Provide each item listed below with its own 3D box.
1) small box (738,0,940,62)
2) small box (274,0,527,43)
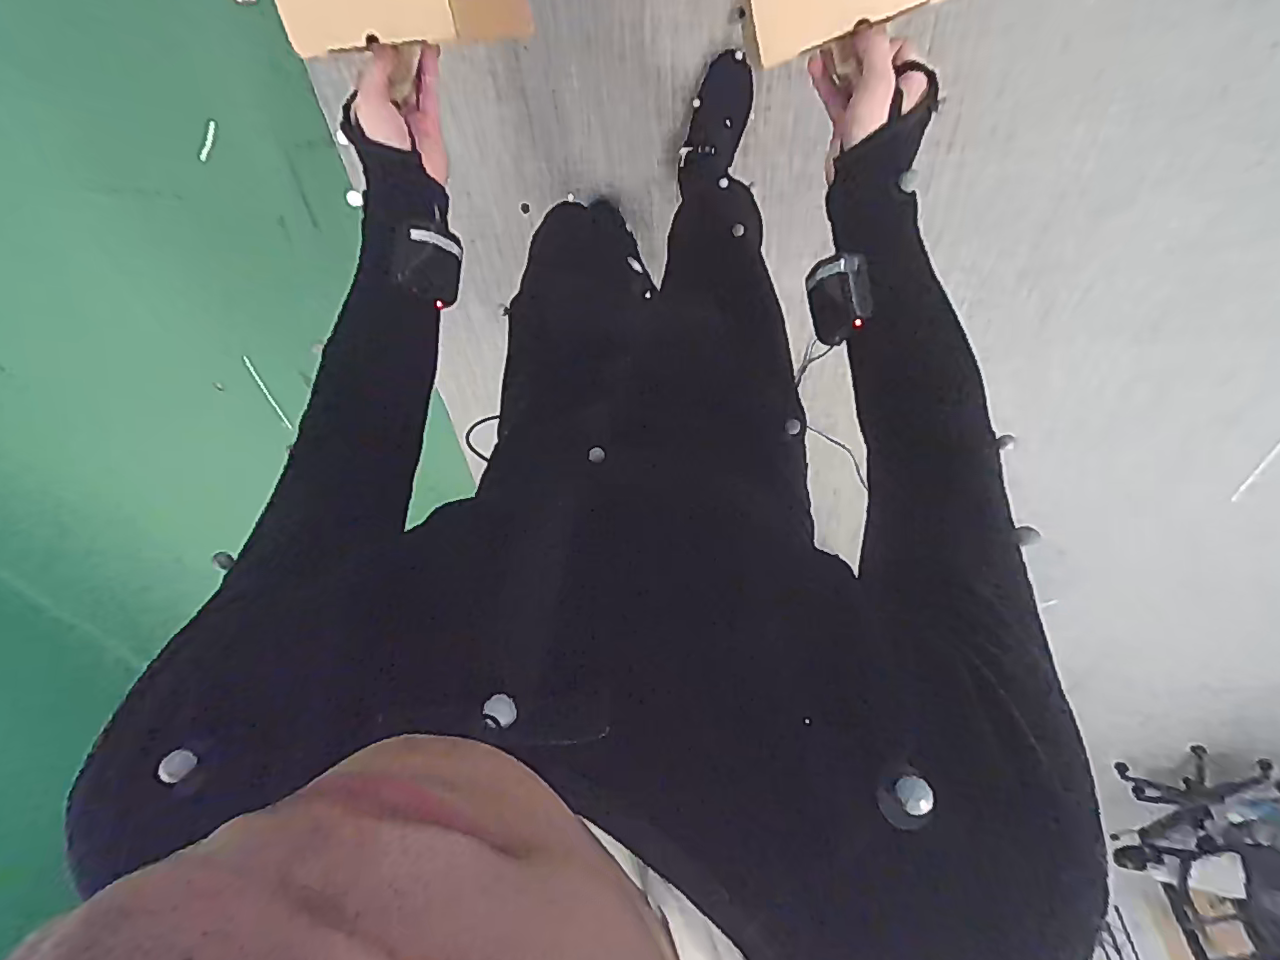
[{"bbox_3d":[0.160,-0.480,0.443,0.168,0.176,0.179,-11,127,14],"label":"small box"},{"bbox_3d":[-0.215,-0.493,0.461,0.168,0.176,0.179,5,132,13],"label":"small box"}]
